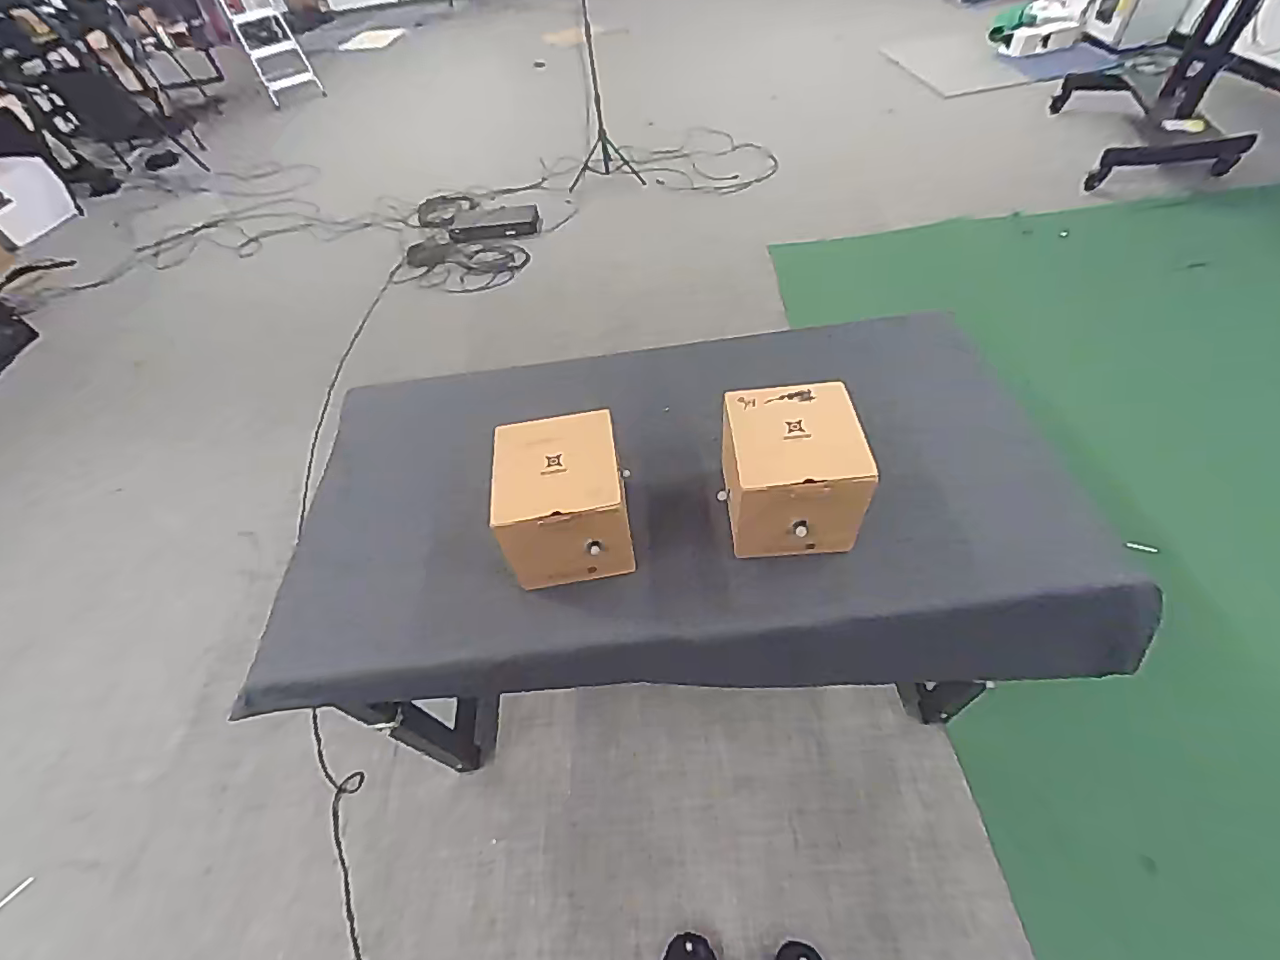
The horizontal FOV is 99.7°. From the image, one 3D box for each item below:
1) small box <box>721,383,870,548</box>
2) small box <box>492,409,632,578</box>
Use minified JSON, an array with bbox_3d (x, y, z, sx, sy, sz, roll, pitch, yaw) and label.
[{"bbox_3d":[0.207,-0.012,0.773,0.168,0.176,0.179,-4,52,3],"label":"small box"},{"bbox_3d":[-0.108,0.027,0.782,0.168,0.176,0.179,-9,50,-2],"label":"small box"}]
